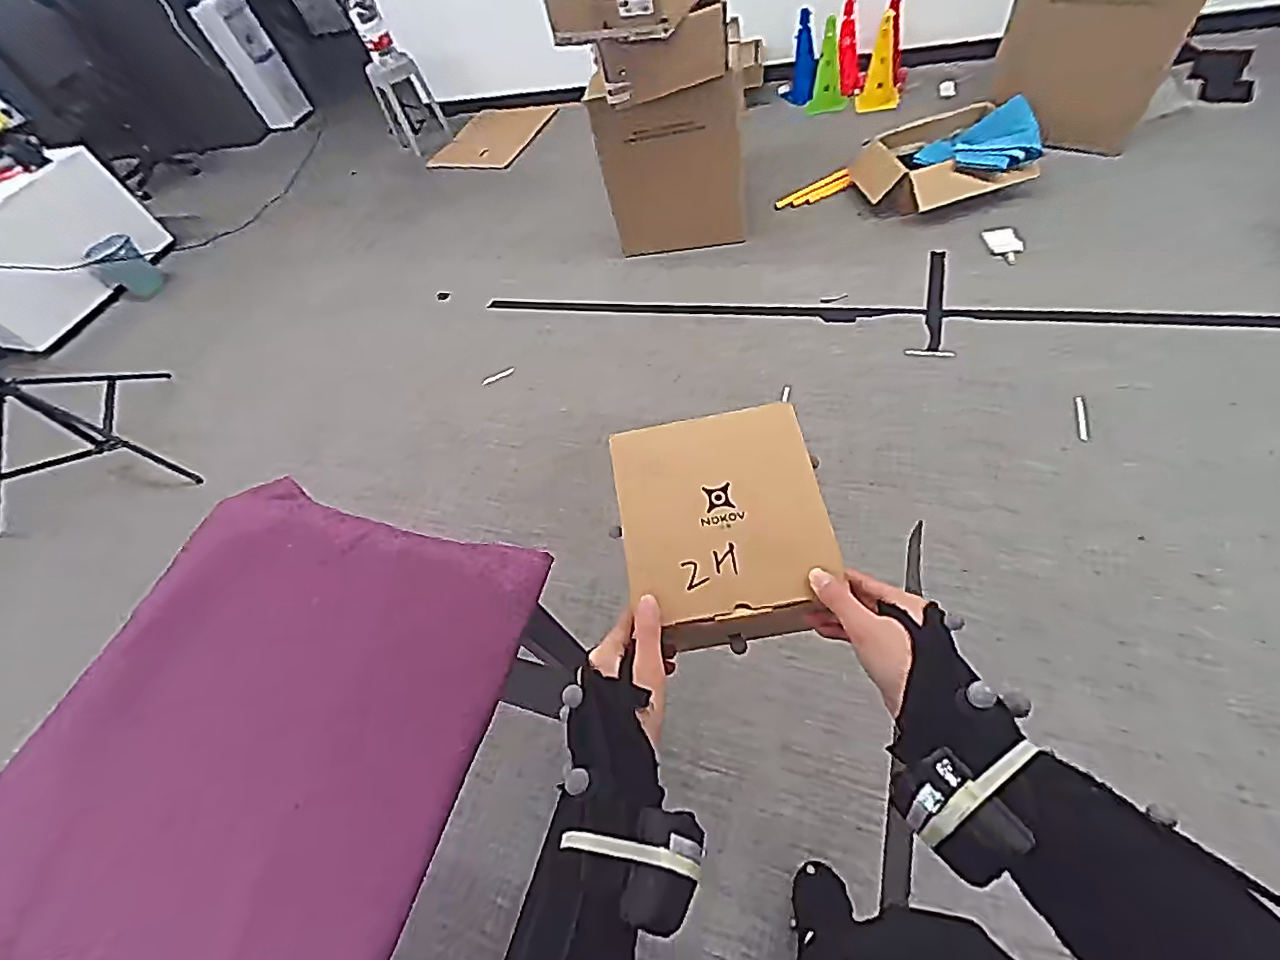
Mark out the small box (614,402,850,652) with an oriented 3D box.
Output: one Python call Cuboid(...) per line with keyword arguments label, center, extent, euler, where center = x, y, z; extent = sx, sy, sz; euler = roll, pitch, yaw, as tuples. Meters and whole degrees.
Cuboid(label="small box", center=(0.075, 0.054, 0.513), extent=(0.168, 0.176, 0.179), euler=(-10, 65, 3))
